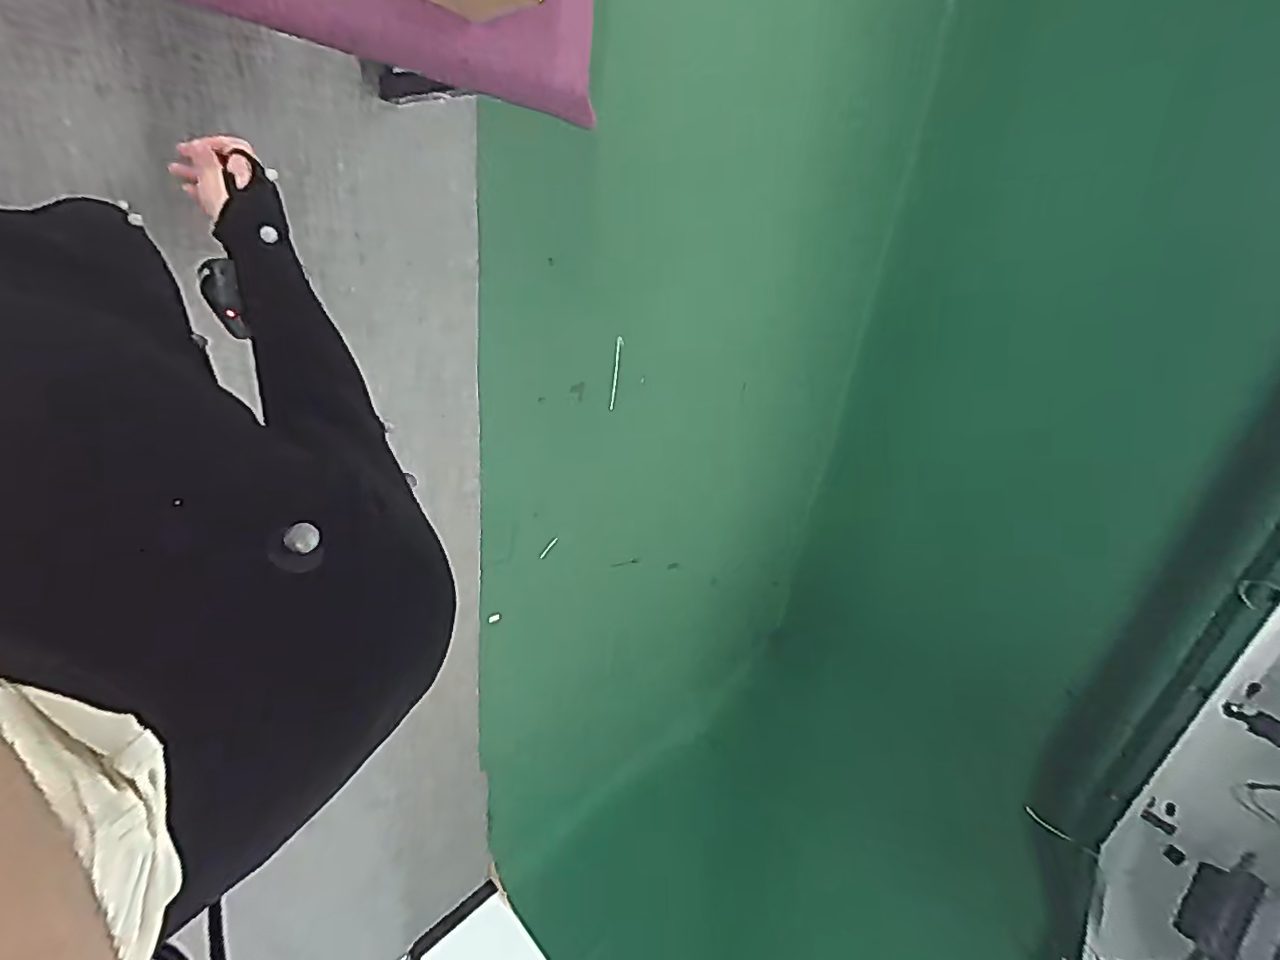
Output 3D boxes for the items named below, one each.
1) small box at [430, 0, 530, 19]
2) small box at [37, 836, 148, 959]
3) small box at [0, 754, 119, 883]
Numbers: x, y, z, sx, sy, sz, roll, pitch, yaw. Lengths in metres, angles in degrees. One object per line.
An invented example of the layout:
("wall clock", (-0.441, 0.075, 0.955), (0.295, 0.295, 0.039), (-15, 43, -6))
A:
("small box", (-0.231, -0.708, 0.662), (0.179, 0.176, 0.168), (-12, 119, -45))
("small box", (-1.486, 1.125, 1.469), (0.179, 0.176, 0.168), (-18, 124, -43))
("small box", (-1.447, 0.828, 1.343), (0.179, 0.176, 0.168), (-18, 125, -42))
